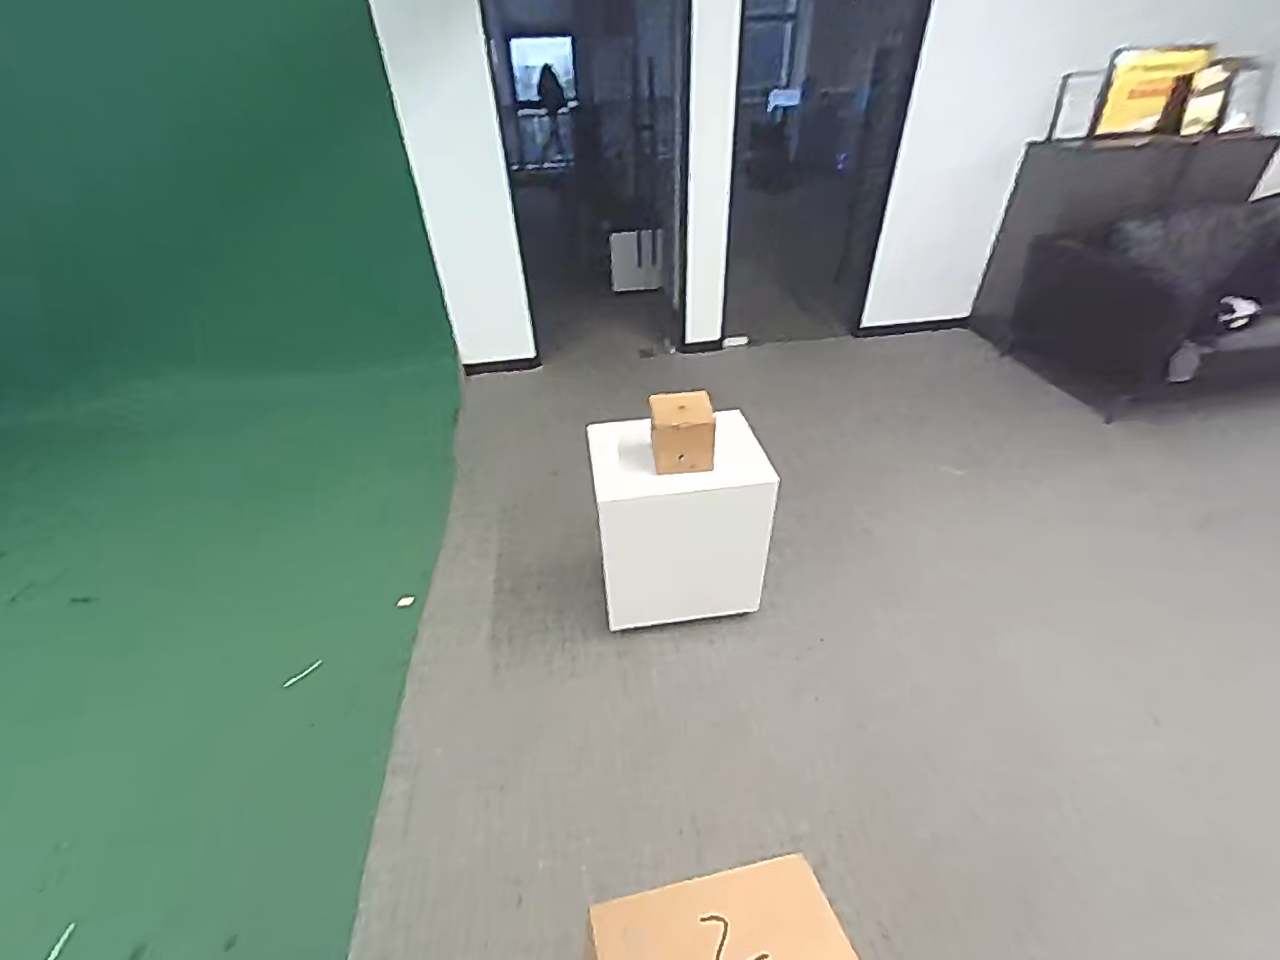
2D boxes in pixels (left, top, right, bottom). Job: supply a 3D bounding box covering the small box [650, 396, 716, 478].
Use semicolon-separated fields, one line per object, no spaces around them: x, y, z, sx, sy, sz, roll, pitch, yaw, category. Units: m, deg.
0.116;-0.124;1.558;0.168;0.176;0.179;-5;37;-4;small box
